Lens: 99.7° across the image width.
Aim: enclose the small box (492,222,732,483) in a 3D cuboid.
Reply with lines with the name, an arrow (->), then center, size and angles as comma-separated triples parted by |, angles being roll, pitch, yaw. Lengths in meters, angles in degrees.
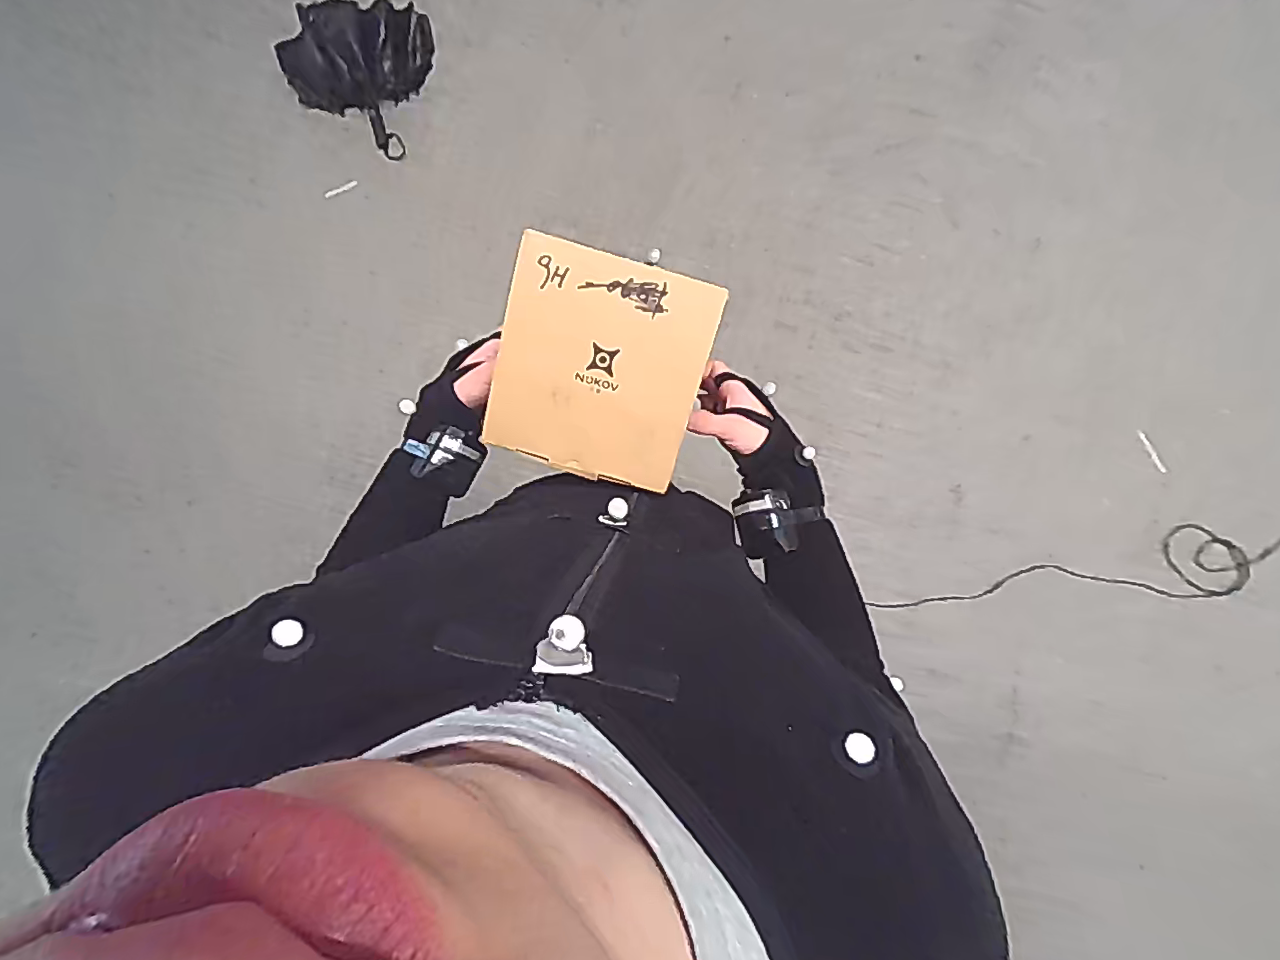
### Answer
small box -> -0.025, -0.121, 0.516 | 0.168, 0.176, 0.179 | 15, 108, -3
